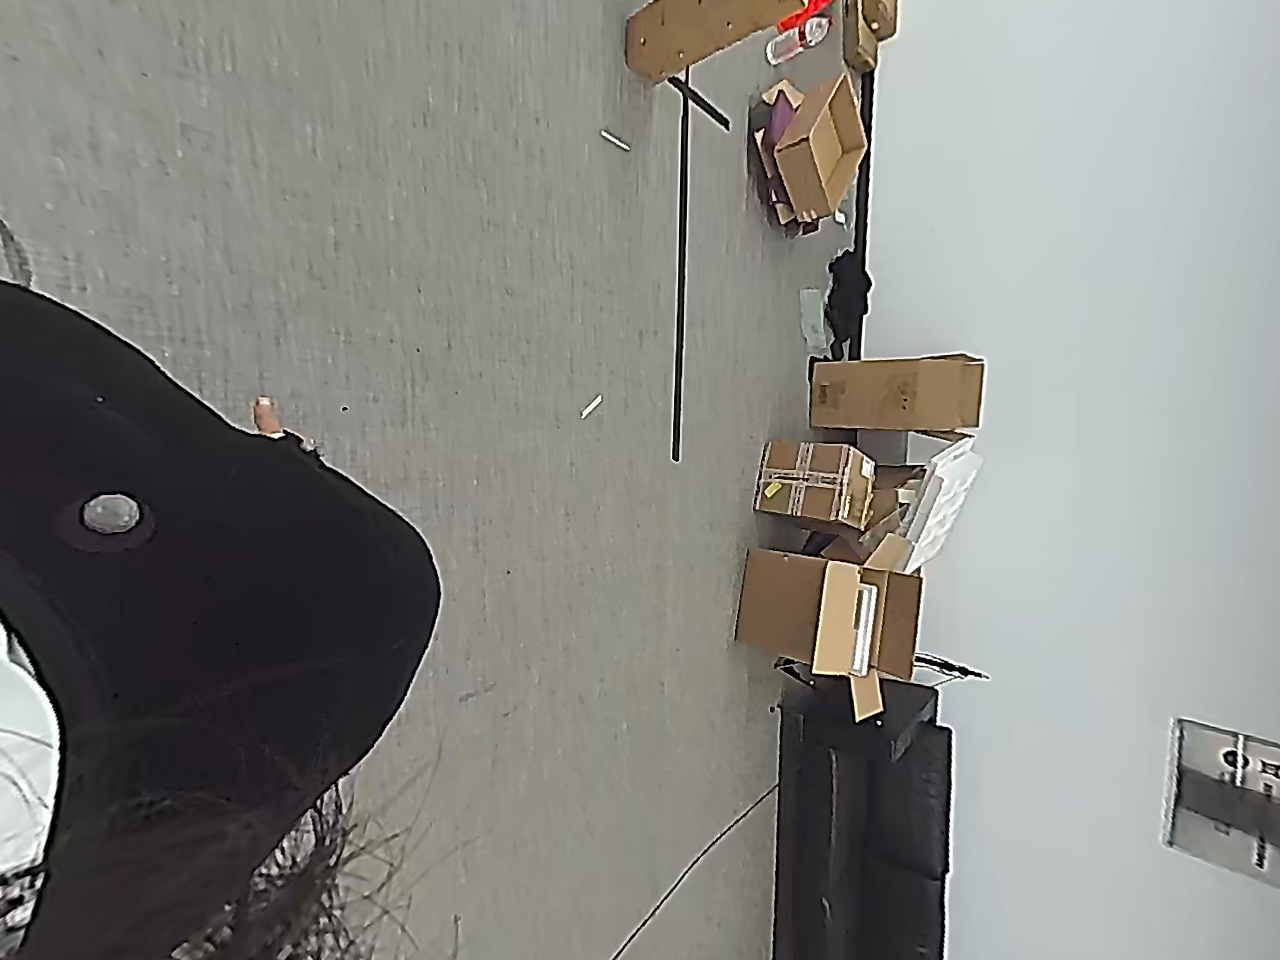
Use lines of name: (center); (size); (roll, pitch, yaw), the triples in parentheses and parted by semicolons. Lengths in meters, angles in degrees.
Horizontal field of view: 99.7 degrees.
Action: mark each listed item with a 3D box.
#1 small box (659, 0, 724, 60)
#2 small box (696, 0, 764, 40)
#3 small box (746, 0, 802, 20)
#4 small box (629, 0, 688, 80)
small box: (0.188, -1.661, 1.942); (0.179, 0.176, 0.168); (-7, 99, -47)
small box: (0.309, -1.644, 1.831); (0.179, 0.176, 0.168); (-6, 99, -46)
small box: (0.430, -1.628, 1.721); (0.179, 0.176, 0.168); (0, 95, -48)
small box: (0.070, -1.674, 2.055); (0.168, 0.176, 0.179); (-4, 96, -47)
